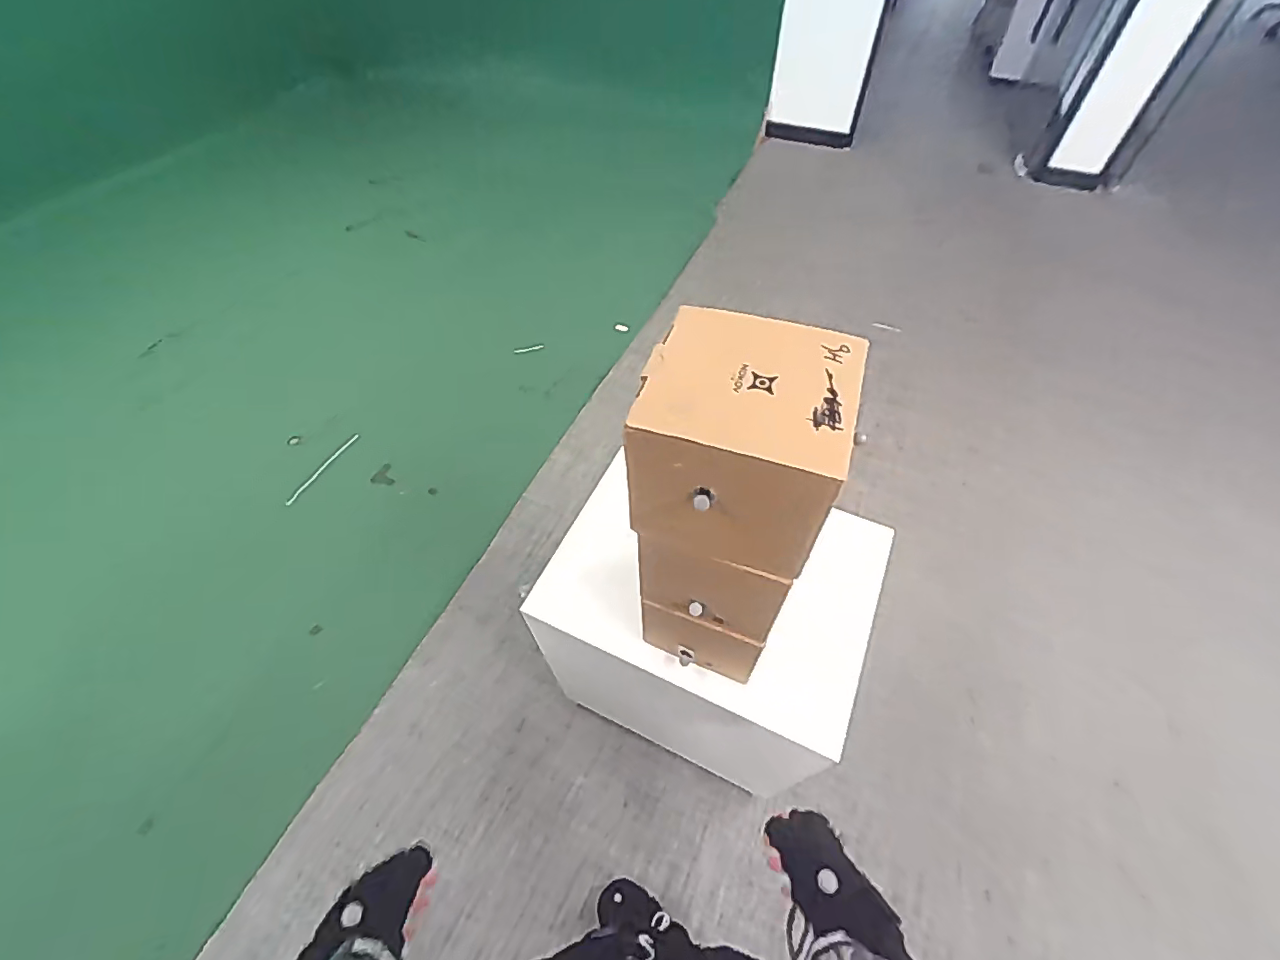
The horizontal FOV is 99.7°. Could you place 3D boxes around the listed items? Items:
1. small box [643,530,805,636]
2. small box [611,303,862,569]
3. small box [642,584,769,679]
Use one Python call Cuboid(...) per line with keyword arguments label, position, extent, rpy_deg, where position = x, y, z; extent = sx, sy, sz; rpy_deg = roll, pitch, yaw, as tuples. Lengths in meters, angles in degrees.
Cuboid(label="small box", position=(0.105, 0.056, 0.645), extent=(0.168, 0.176, 0.179), rpy_deg=(15, 55, 13))
Cuboid(label="small box", position=(0.089, -0.037, 0.511), extent=(0.179, 0.176, 0.168), rpy_deg=(15, 57, 14))
Cuboid(label="small box", position=(0.111, 0.156, 0.775), extent=(0.168, 0.176, 0.179), rpy_deg=(17, 58, 15))
